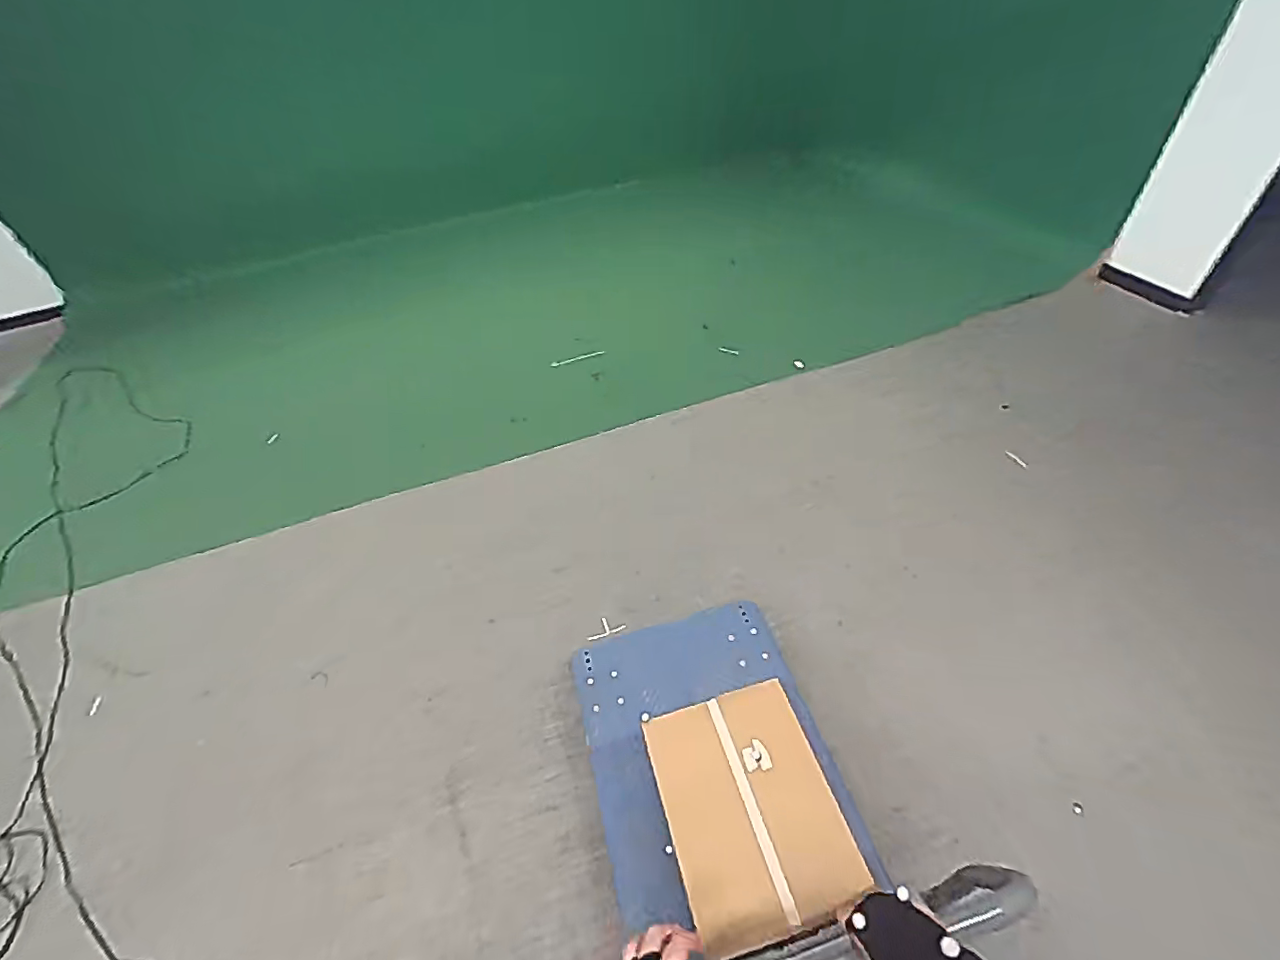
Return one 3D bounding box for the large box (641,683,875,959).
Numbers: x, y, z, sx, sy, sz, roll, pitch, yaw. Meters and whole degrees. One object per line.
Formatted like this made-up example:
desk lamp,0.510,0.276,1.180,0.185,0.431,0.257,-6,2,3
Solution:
large box,0.219,0.720,1.134,0.320,0.320,0.408,-15,45,-7
